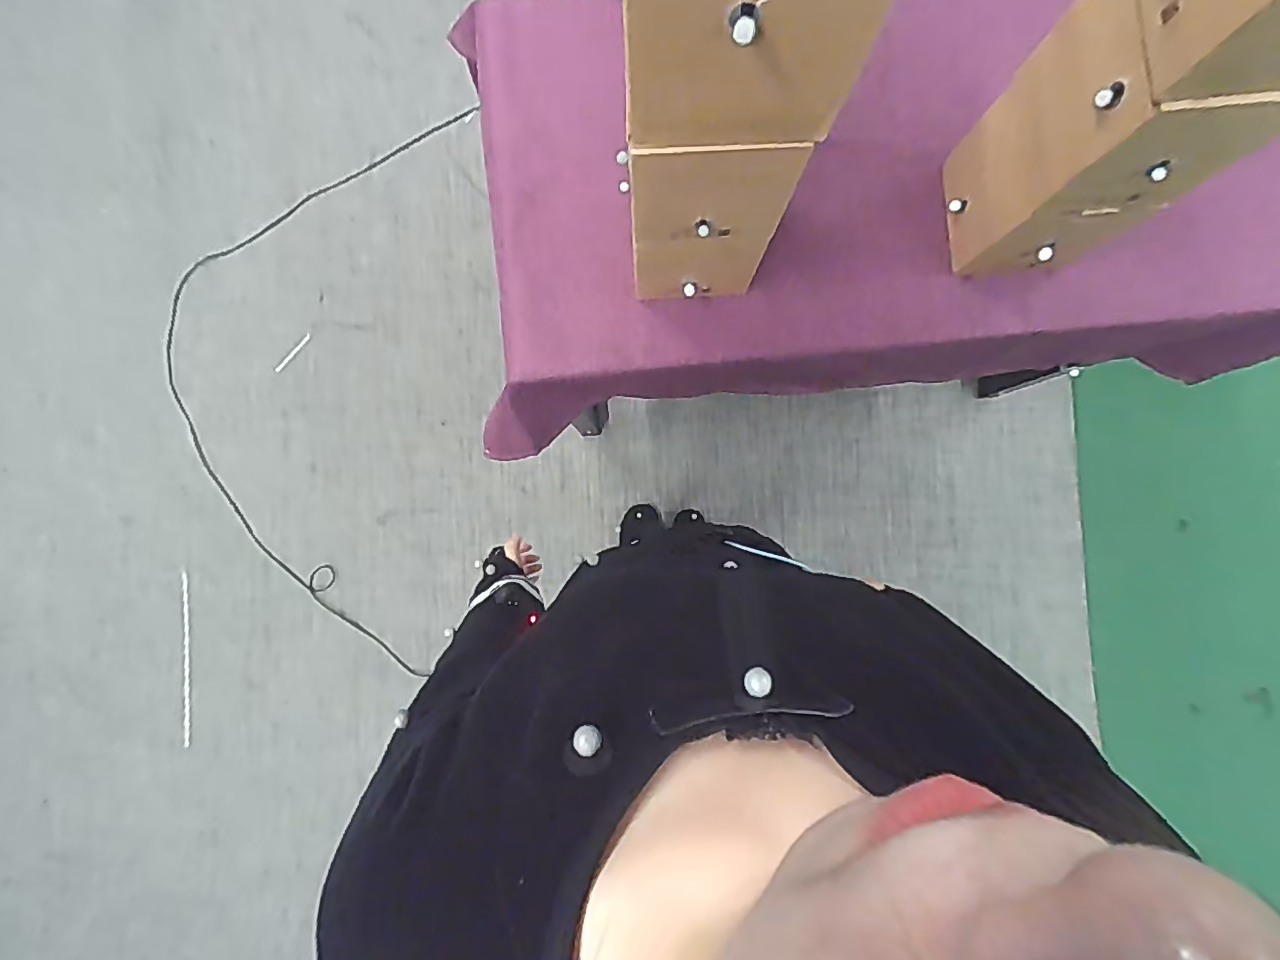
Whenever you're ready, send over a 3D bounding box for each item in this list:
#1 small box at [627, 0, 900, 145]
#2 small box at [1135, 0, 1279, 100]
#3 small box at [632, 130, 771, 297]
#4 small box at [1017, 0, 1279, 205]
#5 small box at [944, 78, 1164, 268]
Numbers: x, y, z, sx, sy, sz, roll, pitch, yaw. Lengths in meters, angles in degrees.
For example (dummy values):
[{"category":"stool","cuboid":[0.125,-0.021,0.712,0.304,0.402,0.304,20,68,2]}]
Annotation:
[{"category":"small box","cuboid":[0.079,-0.381,0.402,0.179,0.176,0.168,-1,88,1]},{"category":"small box","cuboid":[0.525,-0.421,0.398,0.179,0.176,0.168,-4,86,1]},{"category":"small box","cuboid":[0.073,-0.365,0.730,0.168,0.176,0.179,-2,88,1]},{"category":"small box","cuboid":[0.532,-0.408,0.560,0.168,0.176,0.179,-4,87,0]},{"category":"small box","cuboid":[0.538,-0.400,0.726,0.168,0.176,0.179,-4,88,0]}]
